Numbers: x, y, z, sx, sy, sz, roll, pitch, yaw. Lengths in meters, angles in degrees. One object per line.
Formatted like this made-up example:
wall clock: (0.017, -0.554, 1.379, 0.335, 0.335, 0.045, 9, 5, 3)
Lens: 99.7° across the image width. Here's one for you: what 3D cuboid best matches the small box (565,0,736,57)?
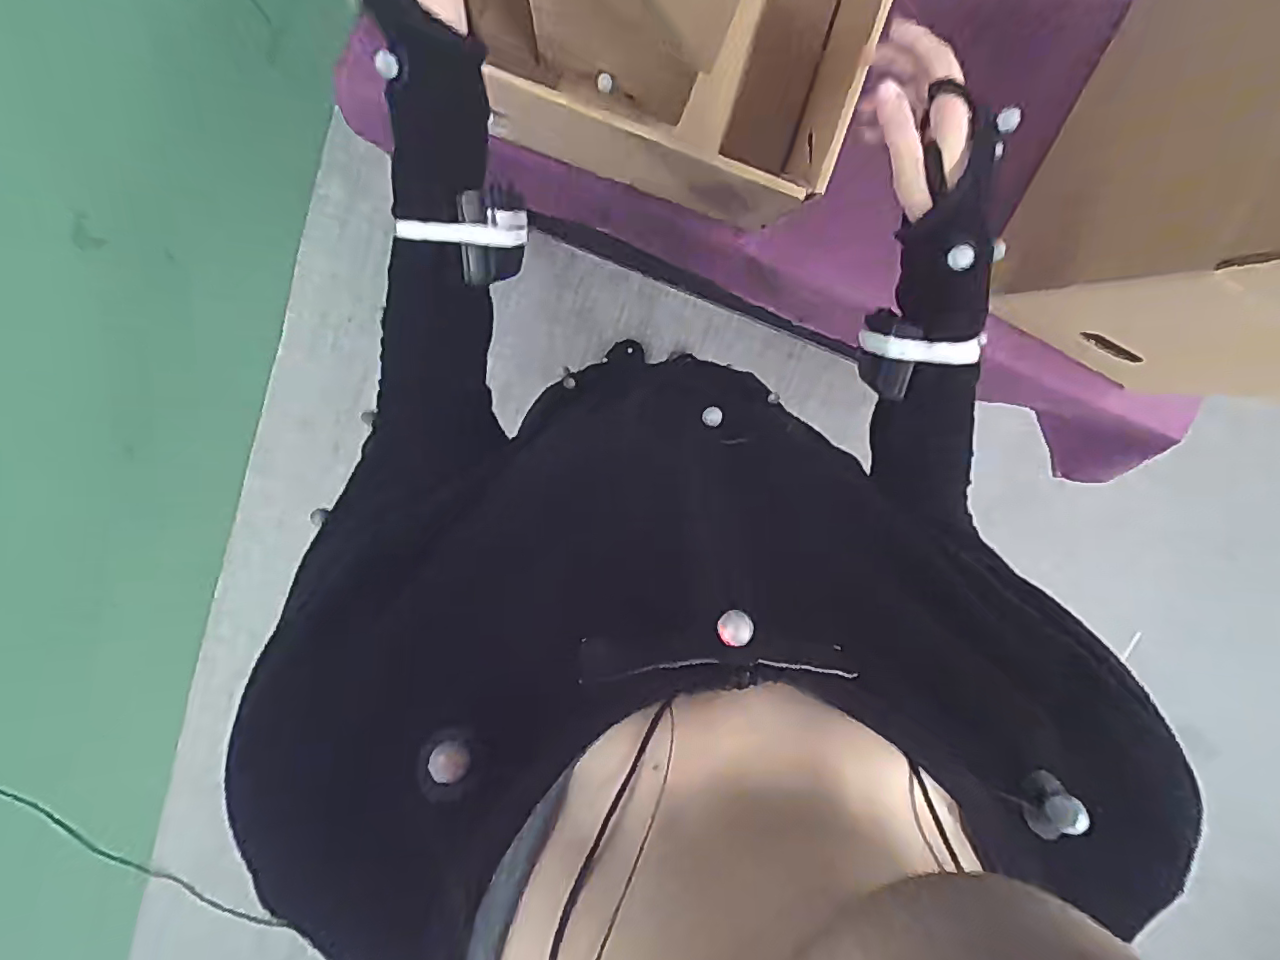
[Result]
small box: (0.011, -0.431, 0.354, 0.179, 0.176, 0.168, 19, 102, -9)
